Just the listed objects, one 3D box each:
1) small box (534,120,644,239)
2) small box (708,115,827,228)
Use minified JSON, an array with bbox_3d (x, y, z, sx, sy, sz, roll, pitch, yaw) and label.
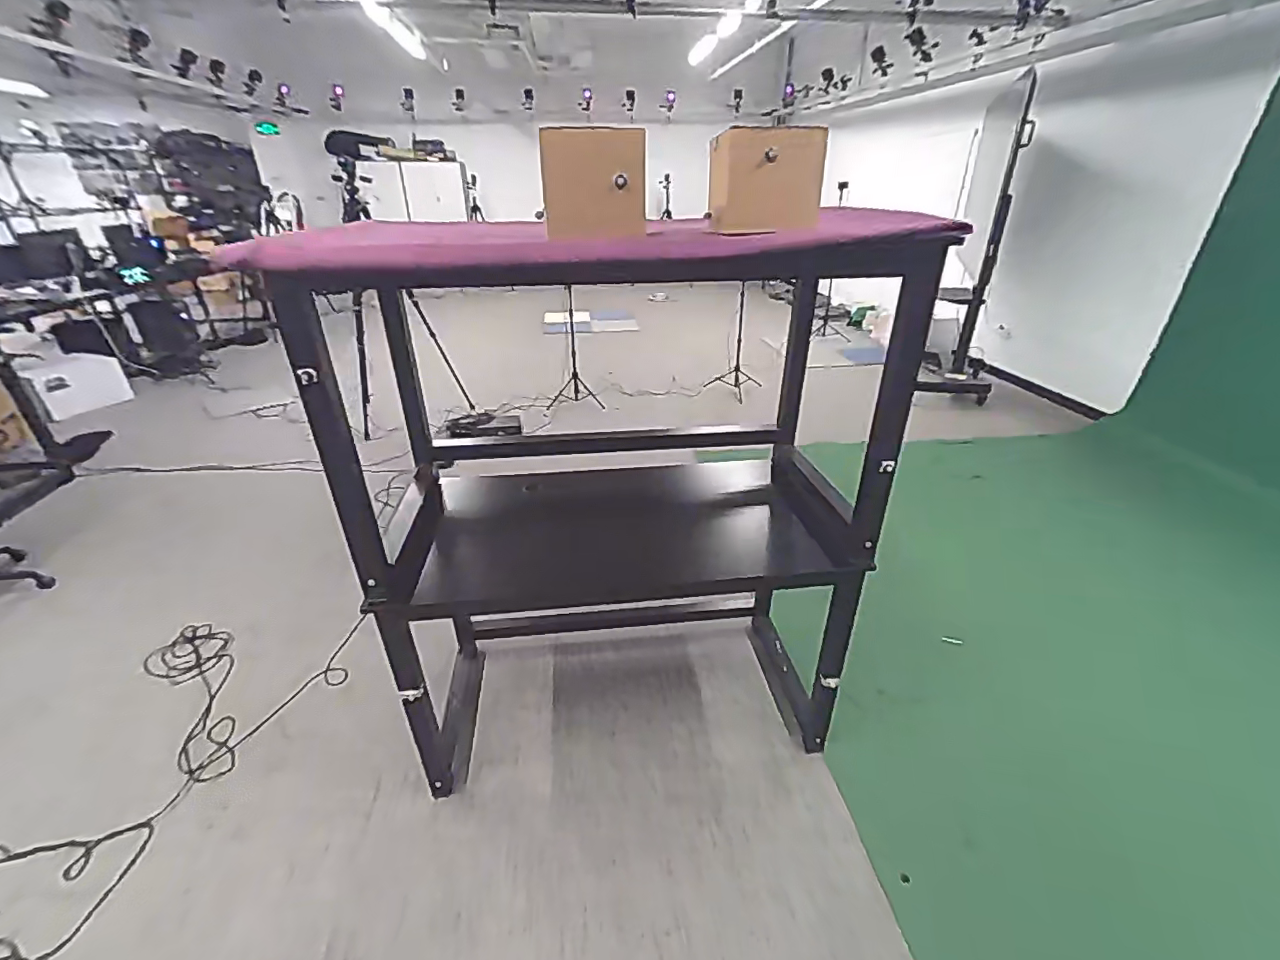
[{"bbox_3d":[-0.090,-0.528,0.956,0.179,0.176,0.168,-6,29,-7],"label":"small box"},{"bbox_3d":[0.227,-0.567,1.011,0.179,0.176,0.168,-3,27,-5],"label":"small box"}]
